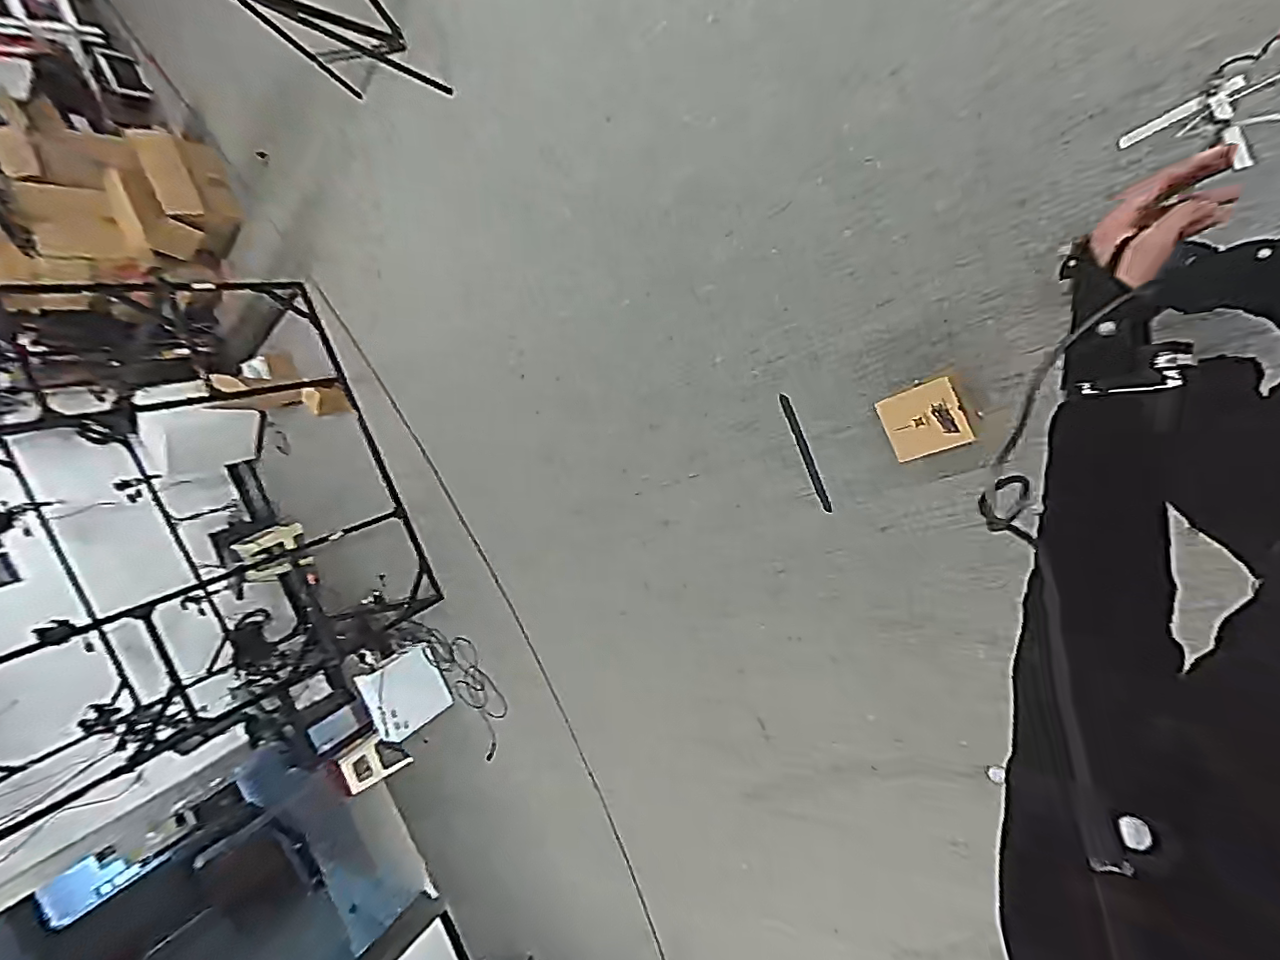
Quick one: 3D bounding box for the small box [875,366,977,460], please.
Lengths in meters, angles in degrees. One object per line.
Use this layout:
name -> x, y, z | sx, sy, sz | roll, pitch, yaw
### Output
small box -> 0.721, -0.171, 1.352 | 0.179, 0.176, 0.168 | -23, 93, 41
